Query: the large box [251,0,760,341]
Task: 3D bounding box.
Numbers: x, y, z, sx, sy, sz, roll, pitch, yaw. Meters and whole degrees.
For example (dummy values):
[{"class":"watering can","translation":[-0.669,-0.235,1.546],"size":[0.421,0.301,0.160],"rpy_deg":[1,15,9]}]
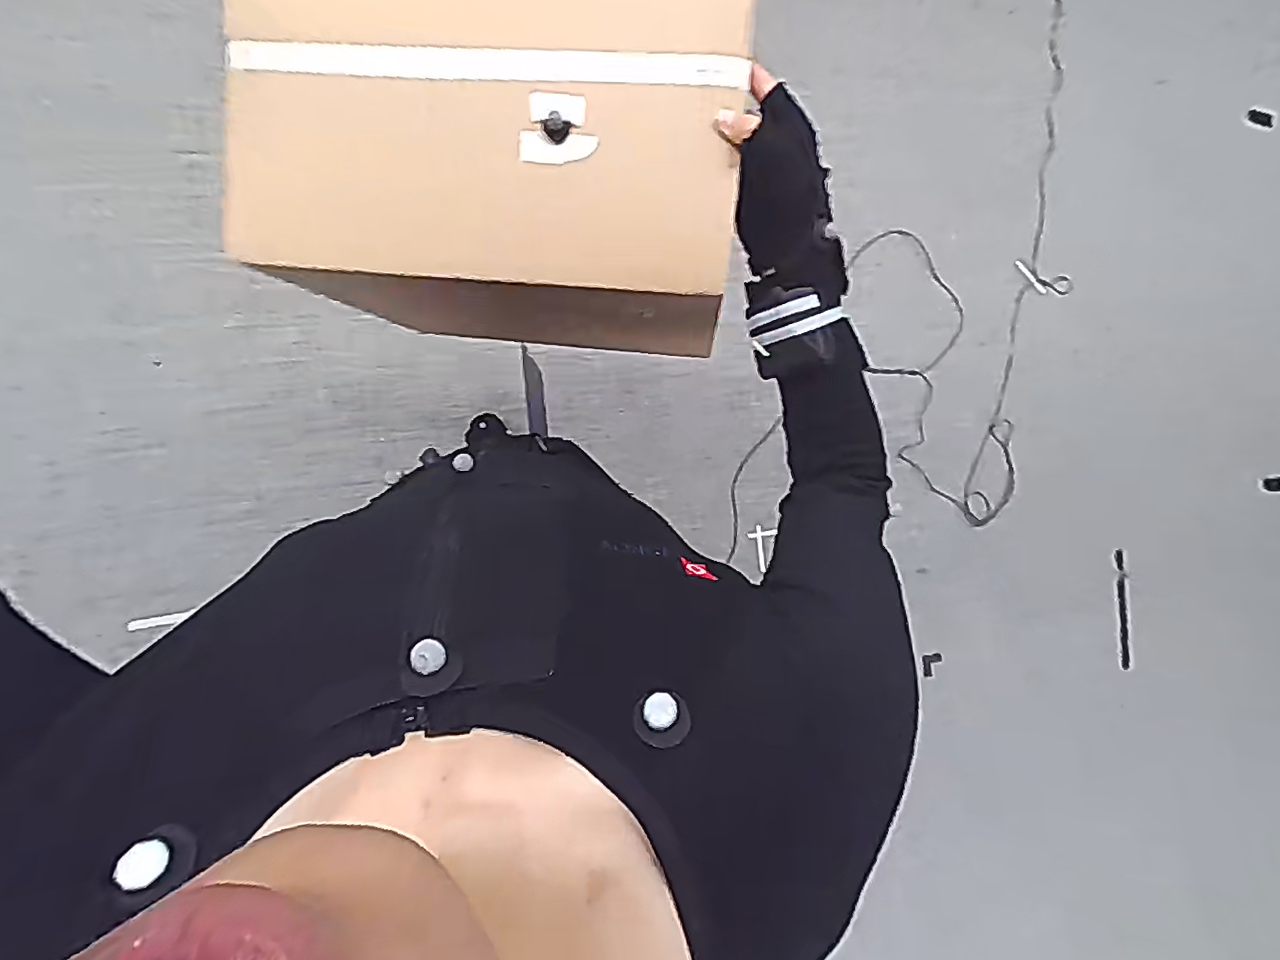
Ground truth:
[{"class":"large box","translation":[-0.101,-0.339,0.569],"size":[0.408,0.320,0.320],"rpy_deg":[6,96,4]}]
